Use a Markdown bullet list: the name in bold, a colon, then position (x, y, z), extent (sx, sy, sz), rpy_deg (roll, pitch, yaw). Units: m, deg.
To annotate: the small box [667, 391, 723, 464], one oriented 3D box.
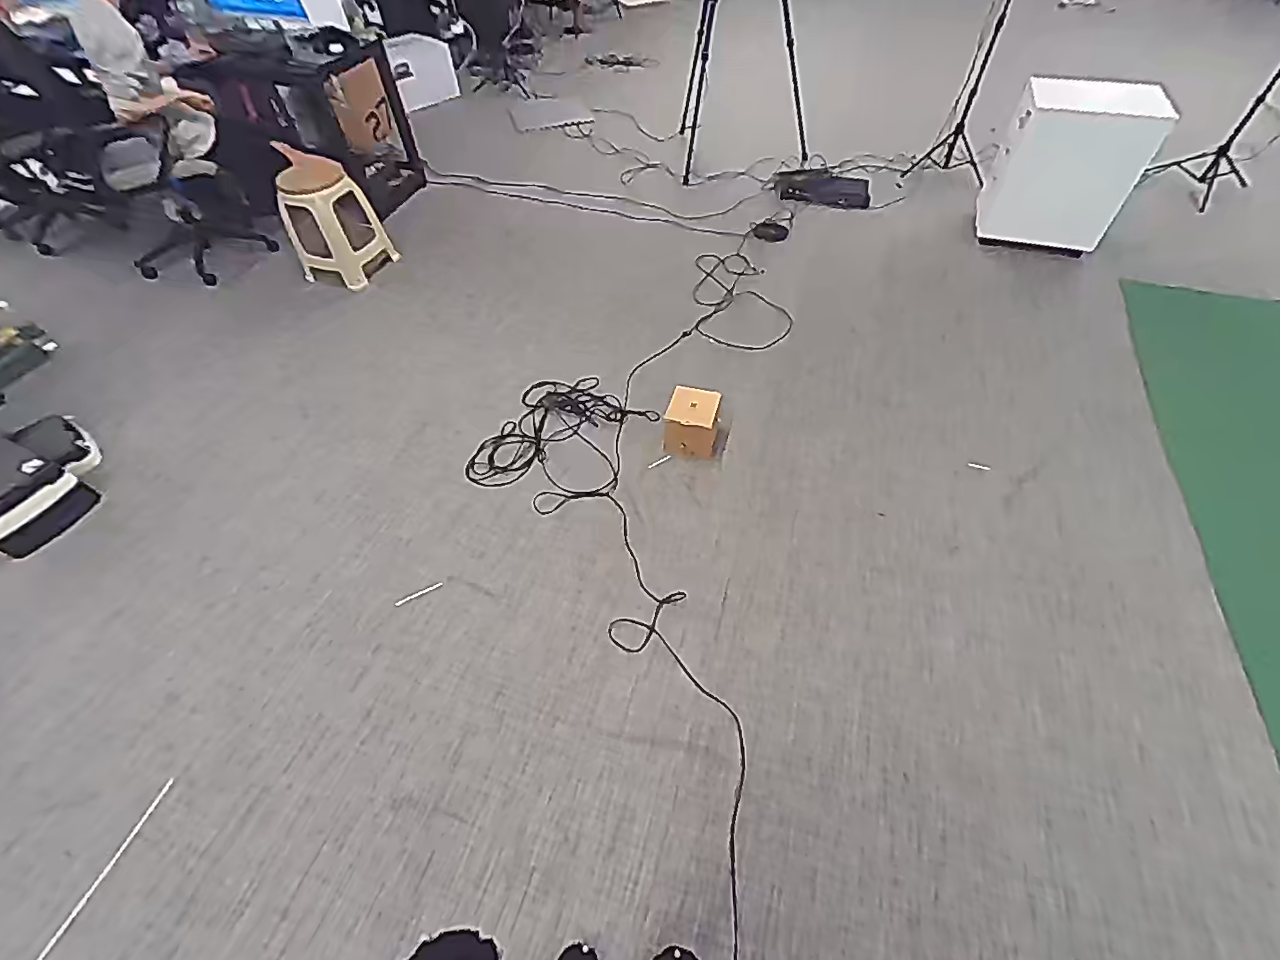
- **small box**: position (0.193, -0.186, 1.920), extent (0.168, 0.176, 0.179), rpy_deg (12, 53, 13)
